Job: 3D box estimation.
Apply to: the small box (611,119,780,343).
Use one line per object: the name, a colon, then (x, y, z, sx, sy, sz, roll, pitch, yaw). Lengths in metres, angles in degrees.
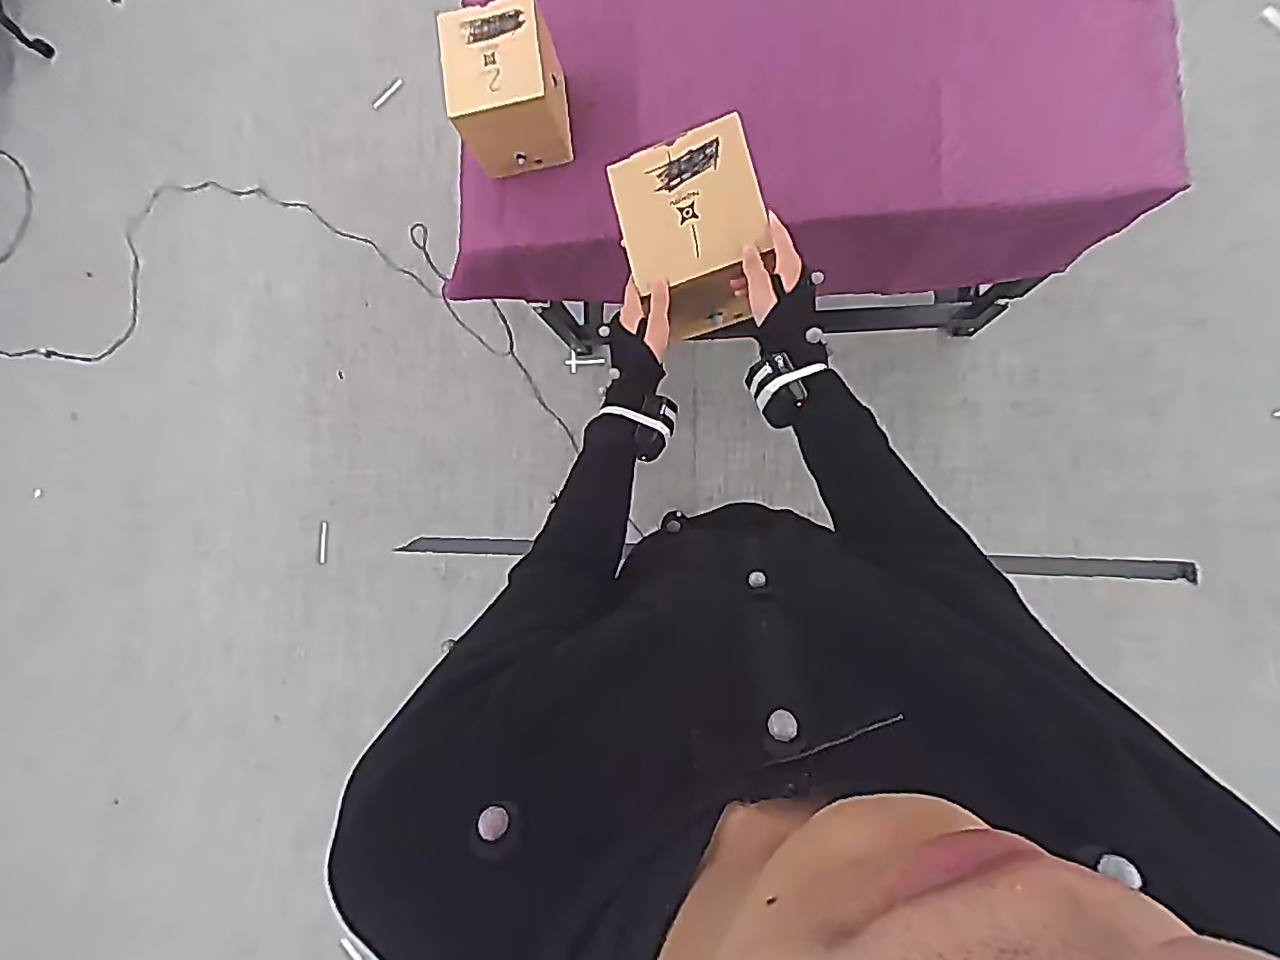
small box: (0.079, -0.304, 0.698, 0.168, 0.176, 0.179, -15, 81, 16)
